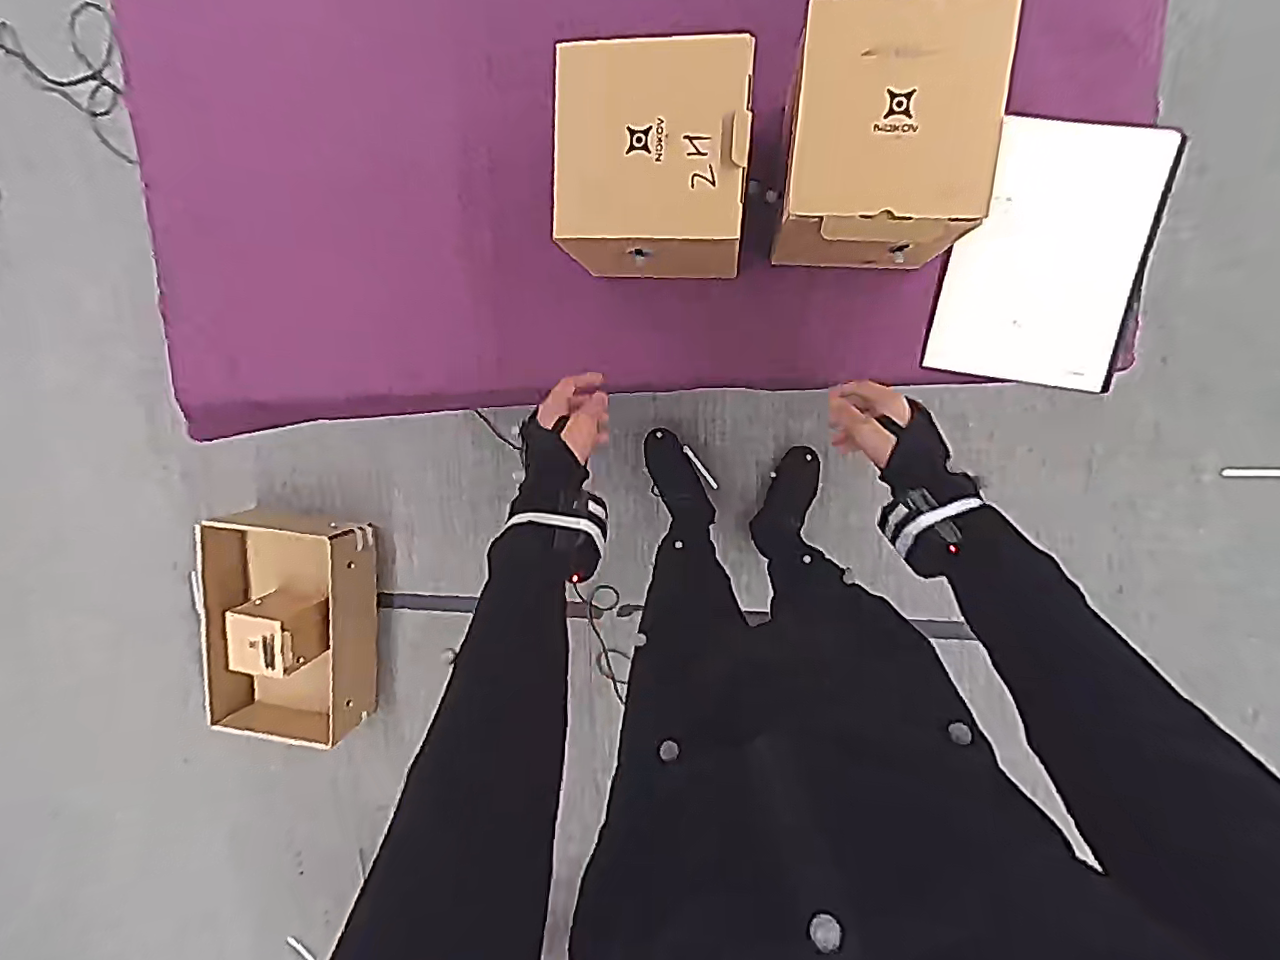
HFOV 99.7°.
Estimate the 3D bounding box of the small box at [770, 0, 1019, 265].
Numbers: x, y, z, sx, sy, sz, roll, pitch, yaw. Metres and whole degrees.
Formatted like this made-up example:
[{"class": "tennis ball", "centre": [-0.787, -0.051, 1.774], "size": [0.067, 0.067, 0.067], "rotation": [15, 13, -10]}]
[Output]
[{"class": "small box", "centre": [0.223, -0.318, 0.525], "size": [0.168, 0.176, 0.179], "rotation": [5, 99, 7]}]
